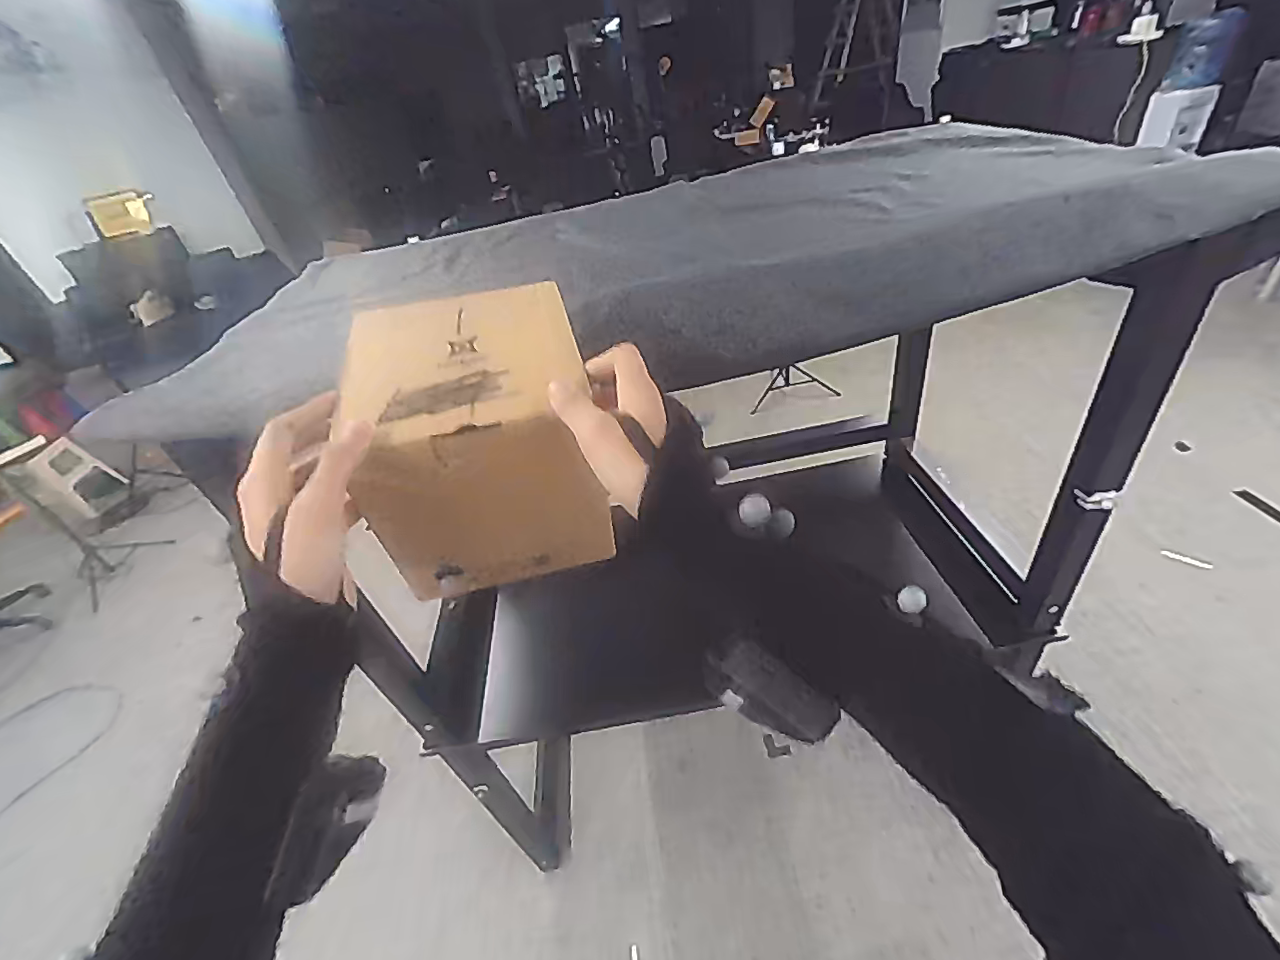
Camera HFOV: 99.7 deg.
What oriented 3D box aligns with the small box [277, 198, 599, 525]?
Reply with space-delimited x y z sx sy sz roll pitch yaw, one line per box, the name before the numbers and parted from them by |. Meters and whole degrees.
small box | -0.131 -0.084 0.408 0.168 0.176 0.179 -12 48 -9
